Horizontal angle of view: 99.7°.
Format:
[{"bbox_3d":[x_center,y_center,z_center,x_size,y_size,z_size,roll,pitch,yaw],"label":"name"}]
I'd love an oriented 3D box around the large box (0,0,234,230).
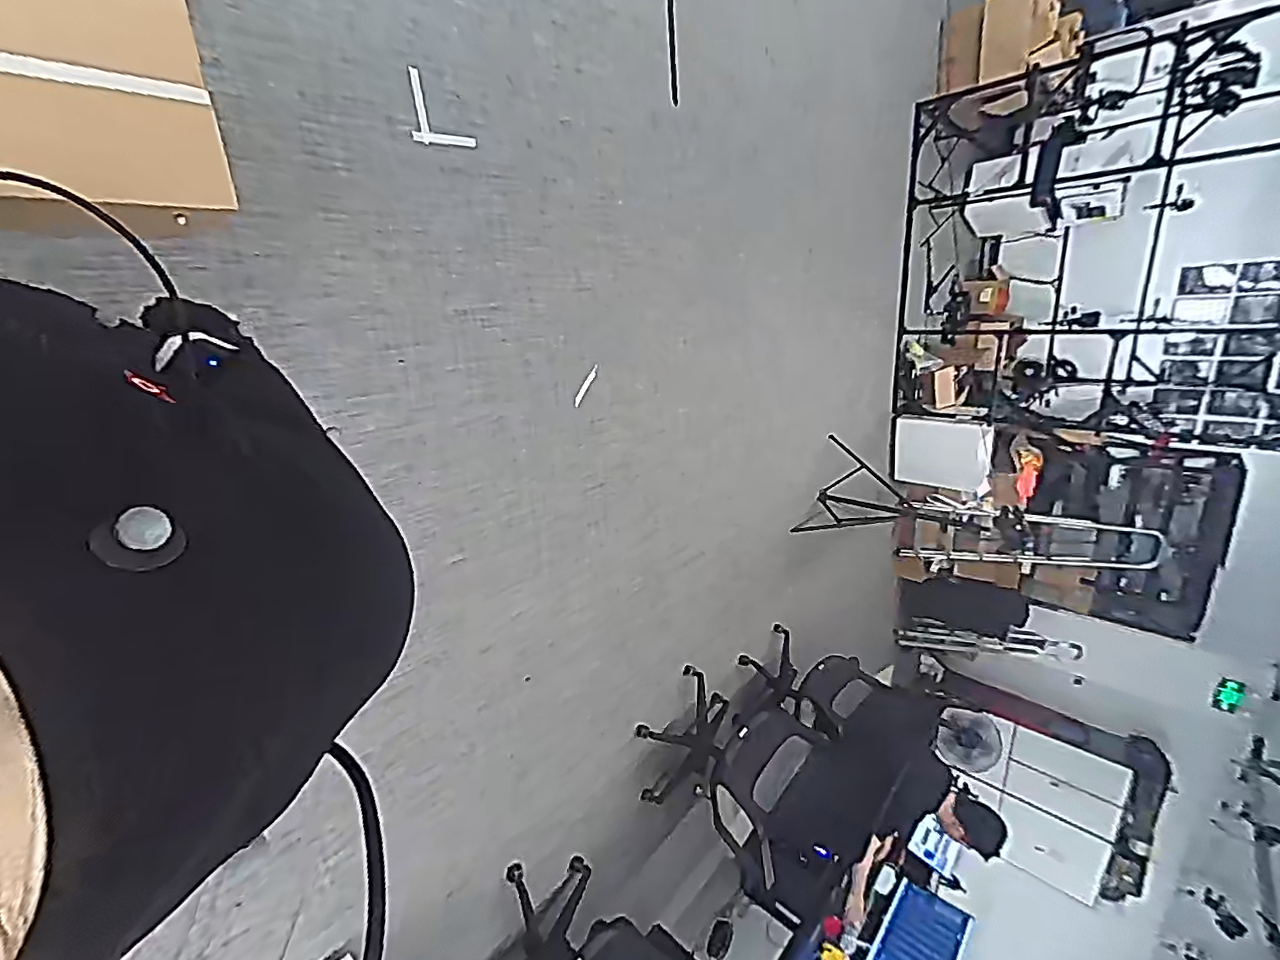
[{"bbox_3d":[-0.905,-0.547,0.784,0.408,0.320,0.320,-23,116,-44],"label":"large box"}]
